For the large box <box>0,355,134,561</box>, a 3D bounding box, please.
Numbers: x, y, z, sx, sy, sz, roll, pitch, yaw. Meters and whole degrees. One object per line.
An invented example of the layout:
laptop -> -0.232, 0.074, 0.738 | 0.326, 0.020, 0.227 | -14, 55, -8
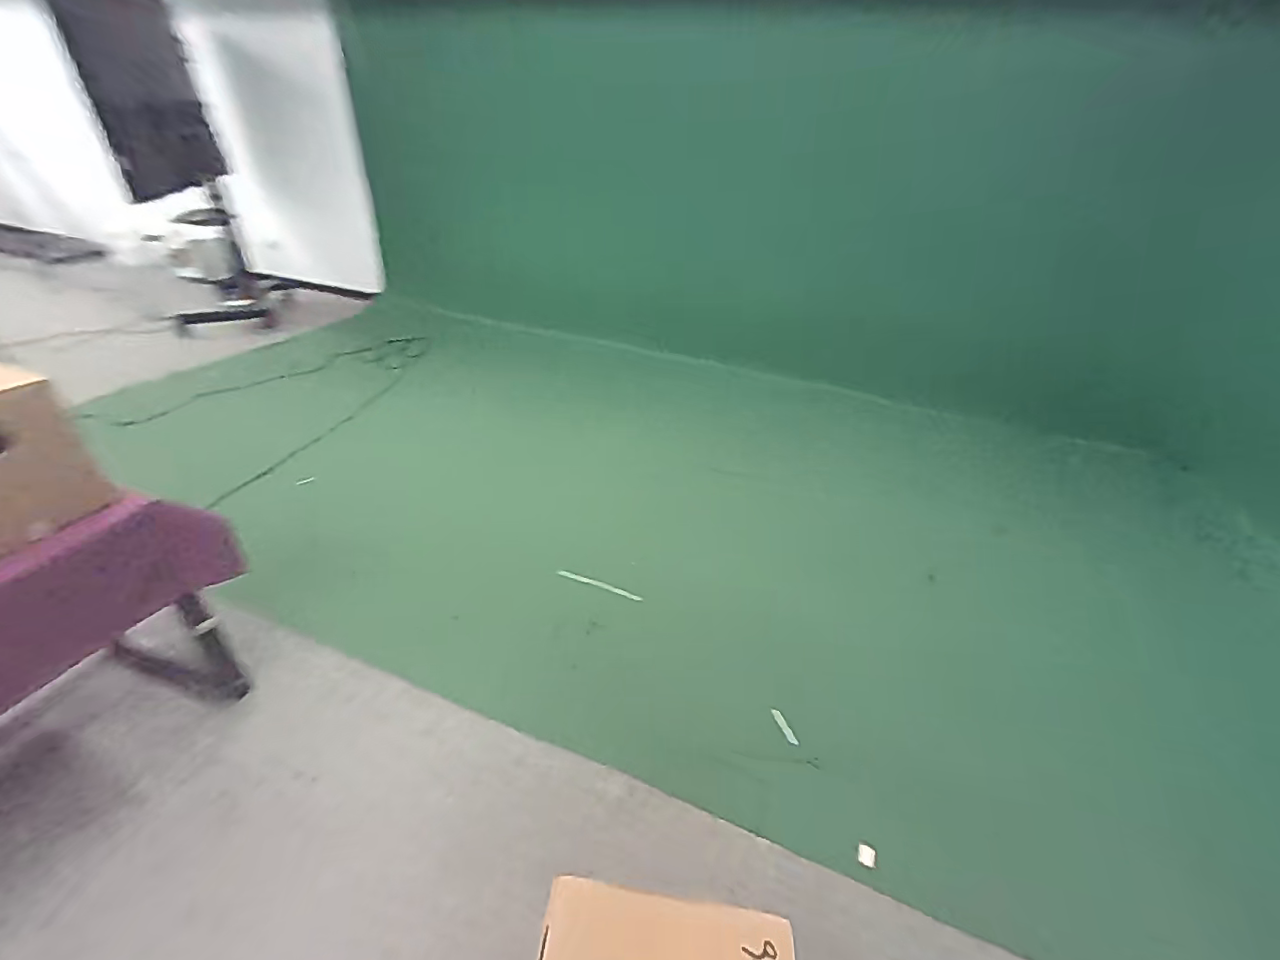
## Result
large box -> -1.439, -0.065, 1.155 | 0.408, 0.320, 0.320 | 16, 35, 16
